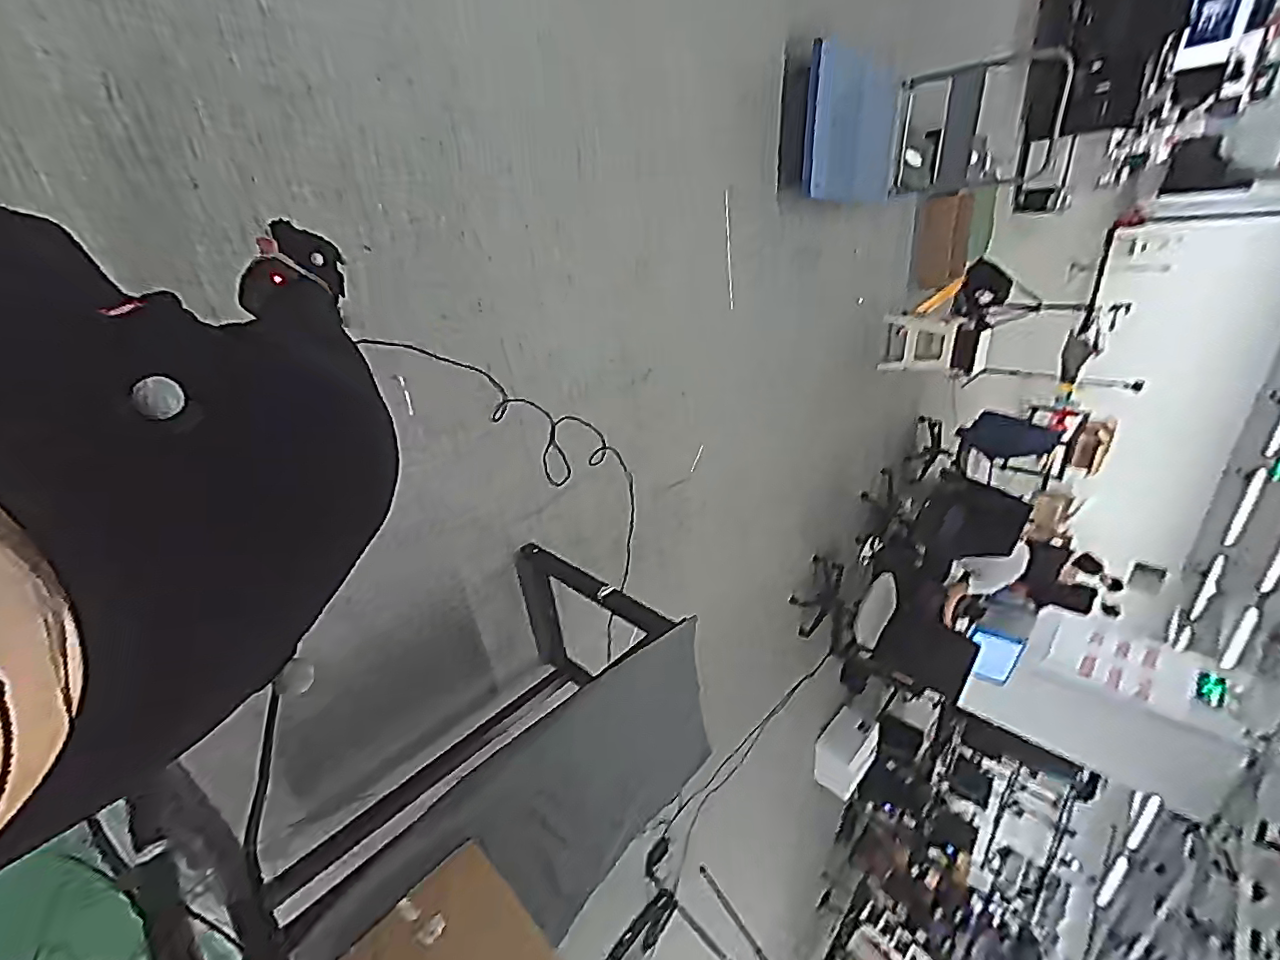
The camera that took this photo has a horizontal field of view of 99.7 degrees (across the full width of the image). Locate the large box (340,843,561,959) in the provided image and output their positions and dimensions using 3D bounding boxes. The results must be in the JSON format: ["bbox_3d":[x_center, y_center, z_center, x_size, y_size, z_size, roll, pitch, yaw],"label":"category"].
[{"bbox_3d":[-0.326,0.998,1.006,0.320,0.320,0.408,-31,127,-37],"label":"large box"}]
